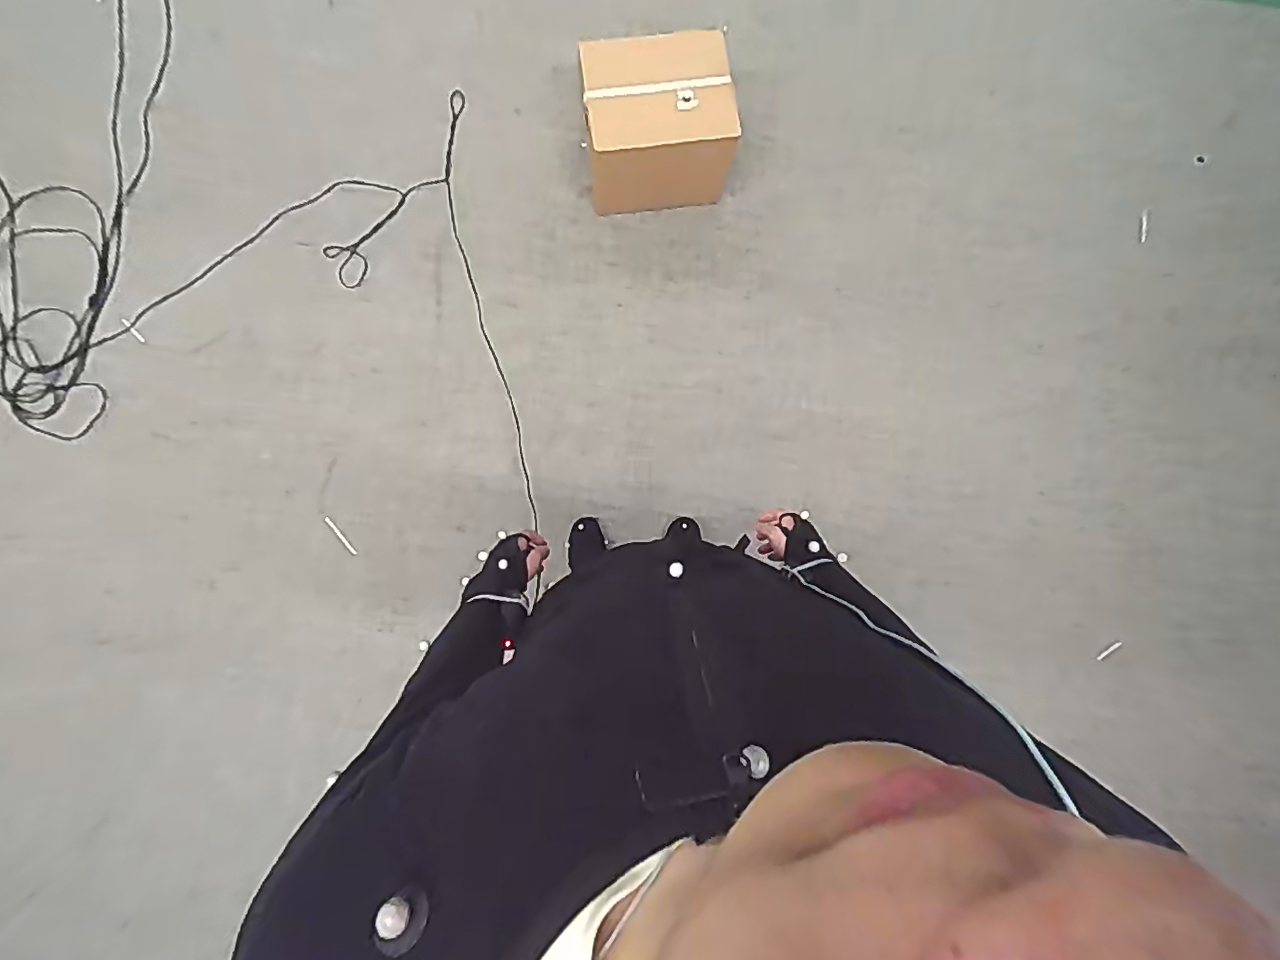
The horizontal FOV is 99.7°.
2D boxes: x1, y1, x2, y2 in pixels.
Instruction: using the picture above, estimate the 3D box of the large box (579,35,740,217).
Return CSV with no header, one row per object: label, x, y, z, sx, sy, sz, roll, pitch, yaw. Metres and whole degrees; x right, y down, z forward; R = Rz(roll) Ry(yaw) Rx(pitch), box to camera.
large box,0.044,-1.029,1.607,0.408,0.320,0.320,-8,86,-4
